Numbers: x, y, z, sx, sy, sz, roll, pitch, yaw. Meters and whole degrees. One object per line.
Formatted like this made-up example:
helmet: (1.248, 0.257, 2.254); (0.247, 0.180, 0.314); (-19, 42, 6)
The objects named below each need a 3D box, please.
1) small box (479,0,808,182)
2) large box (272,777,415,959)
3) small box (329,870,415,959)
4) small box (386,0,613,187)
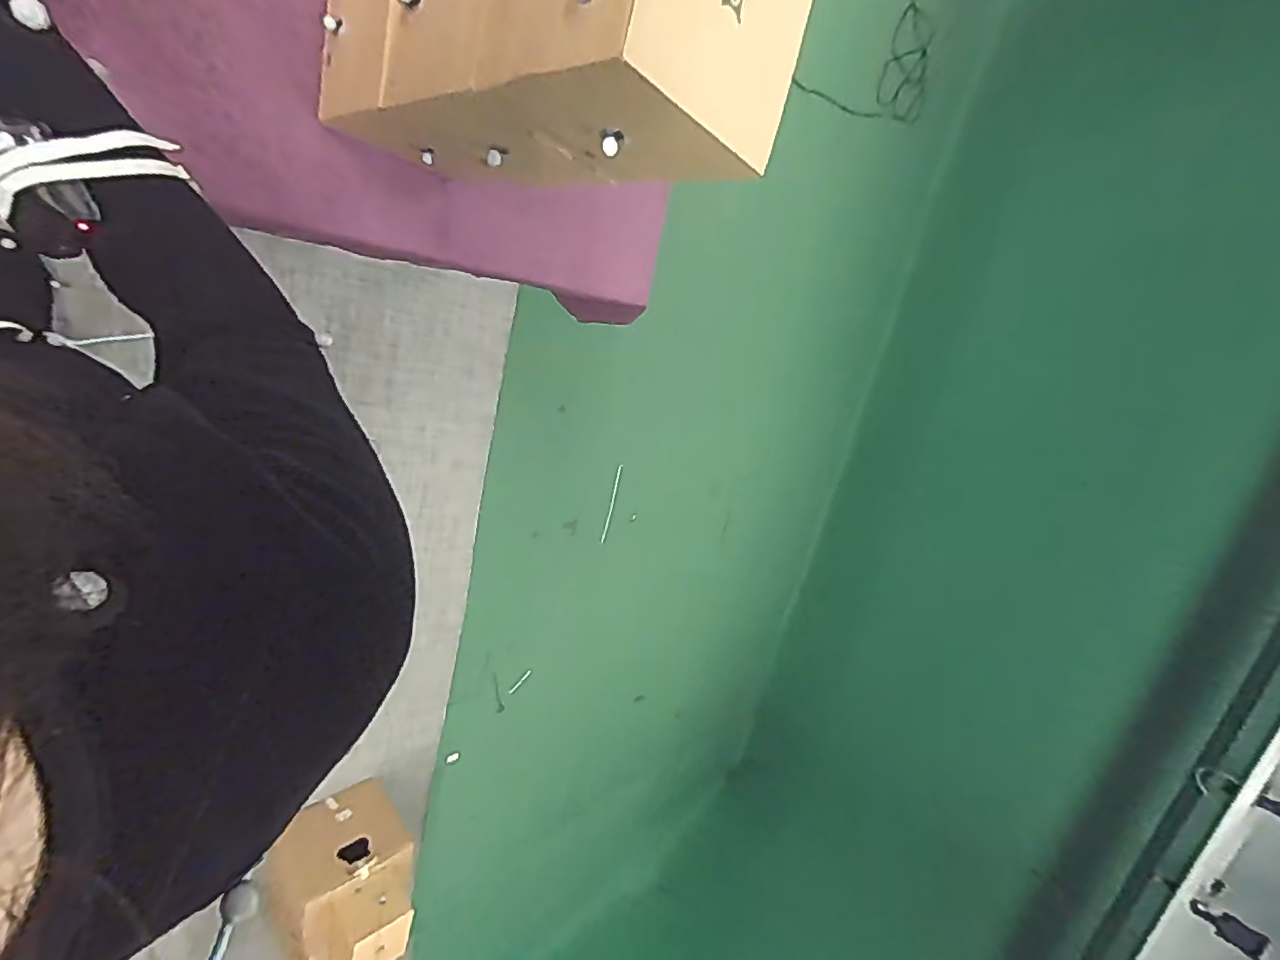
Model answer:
small box: (0.002, -0.344, 0.403); (0.168, 0.176, 0.179); (-1, 109, -49)
large box: (-0.971, 1.287, 1.760); (0.320, 0.320, 0.408); (-5, 114, -49)
small box: (-0.785, 1.289, 1.577); (0.168, 0.176, 0.179); (0, 111, -49)
small box: (-0.115, -0.400, 0.506); (0.168, 0.176, 0.179); (1, 109, -50)
